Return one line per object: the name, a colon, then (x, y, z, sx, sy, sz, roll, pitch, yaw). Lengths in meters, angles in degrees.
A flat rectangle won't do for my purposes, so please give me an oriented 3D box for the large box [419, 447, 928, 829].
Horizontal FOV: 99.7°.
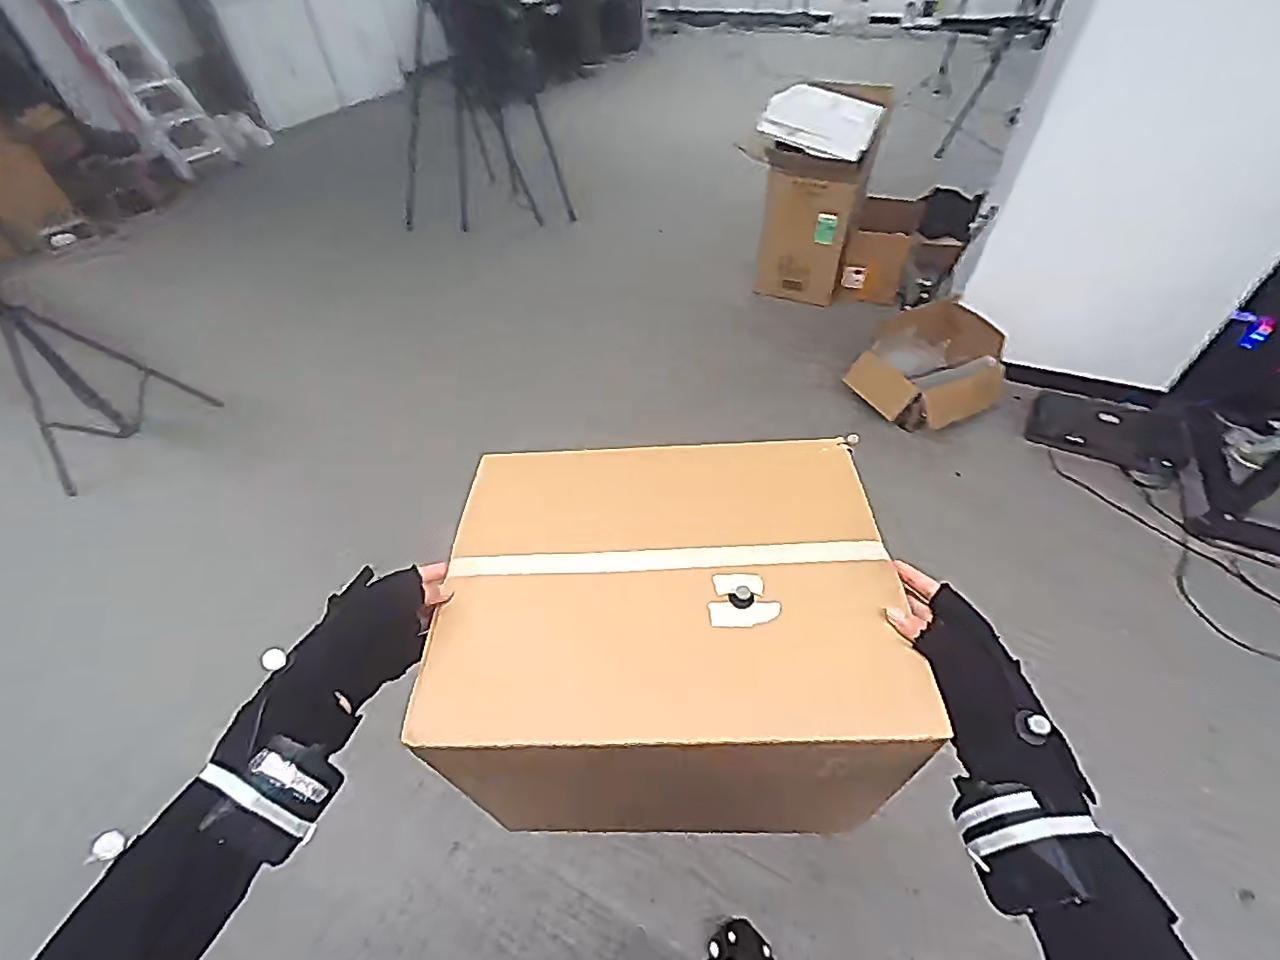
large box: (0.029, 0.185, 0.623, 0.408, 0.320, 0.320, -2, 47, 3)
